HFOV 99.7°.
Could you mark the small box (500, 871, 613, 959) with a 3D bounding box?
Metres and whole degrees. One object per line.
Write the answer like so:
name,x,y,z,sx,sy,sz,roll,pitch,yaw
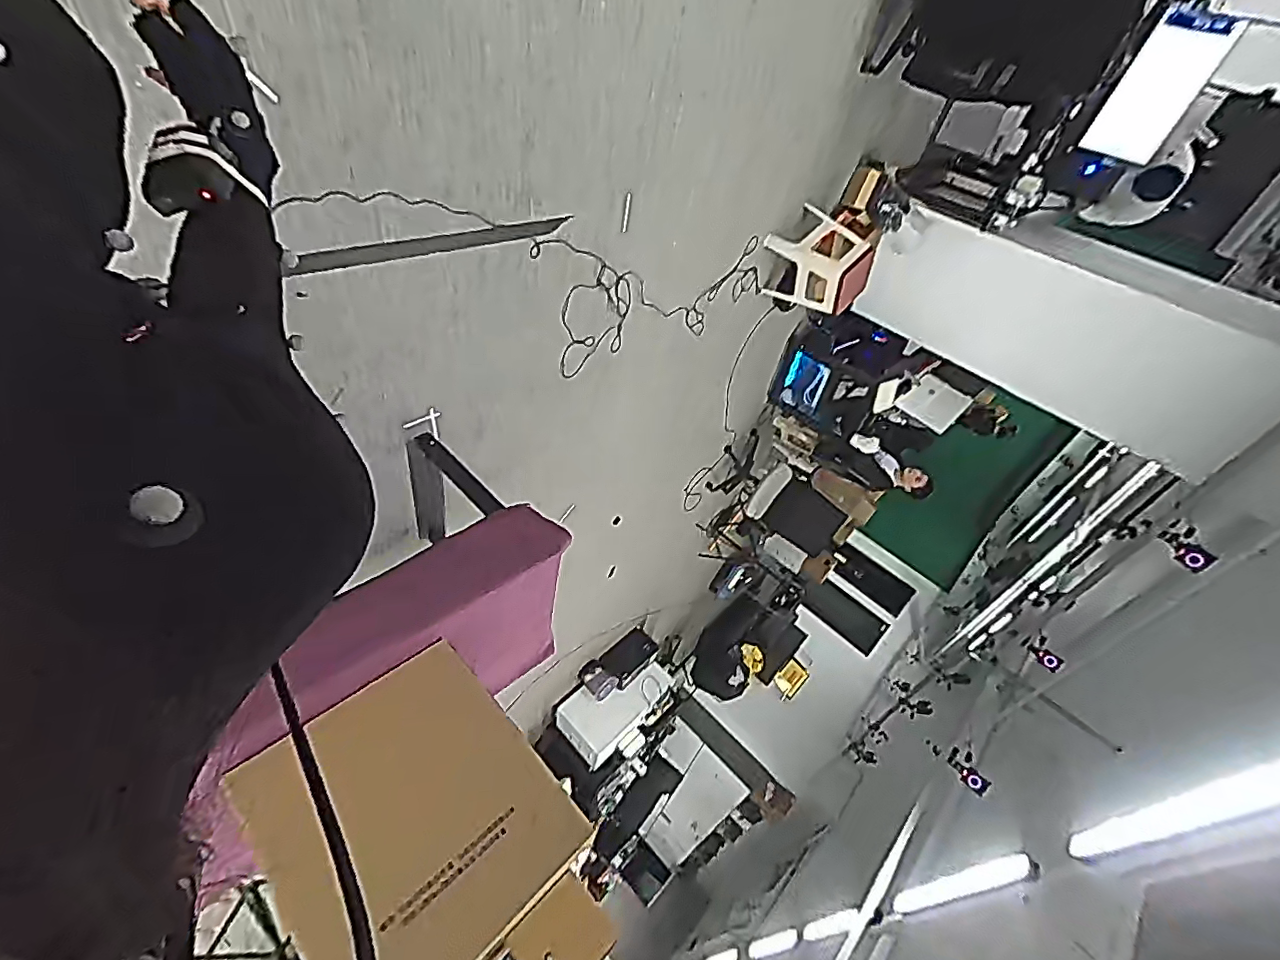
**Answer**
small box,-0.185,0.998,1.161,0.179,0.176,0.168,-32,150,-36
